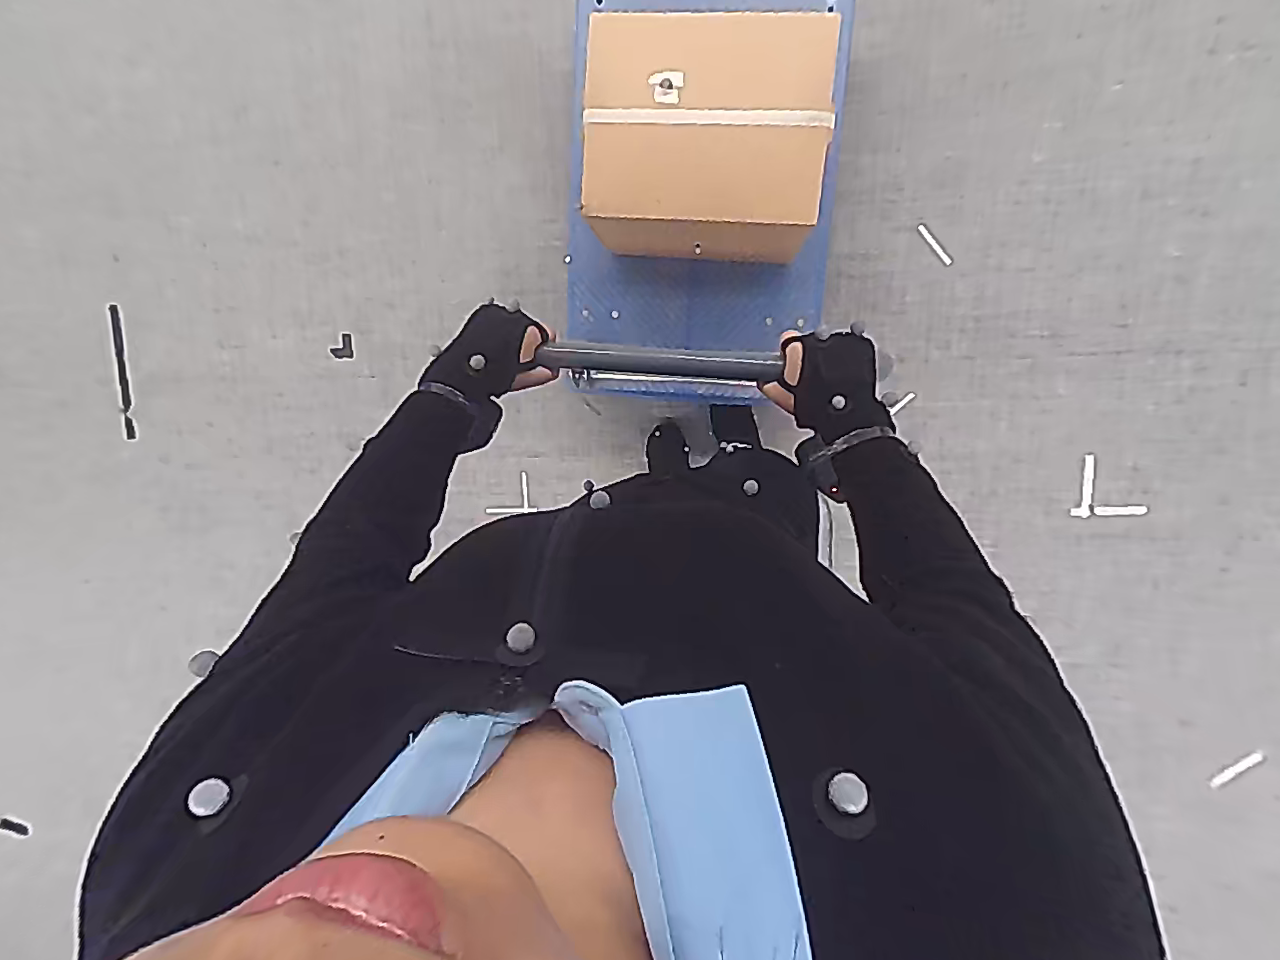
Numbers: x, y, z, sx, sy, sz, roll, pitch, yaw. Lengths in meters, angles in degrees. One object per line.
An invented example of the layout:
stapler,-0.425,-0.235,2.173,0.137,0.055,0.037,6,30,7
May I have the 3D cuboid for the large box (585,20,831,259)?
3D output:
large box,0.127,-0.628,1.062,0.408,0.320,0.320,5,100,7
